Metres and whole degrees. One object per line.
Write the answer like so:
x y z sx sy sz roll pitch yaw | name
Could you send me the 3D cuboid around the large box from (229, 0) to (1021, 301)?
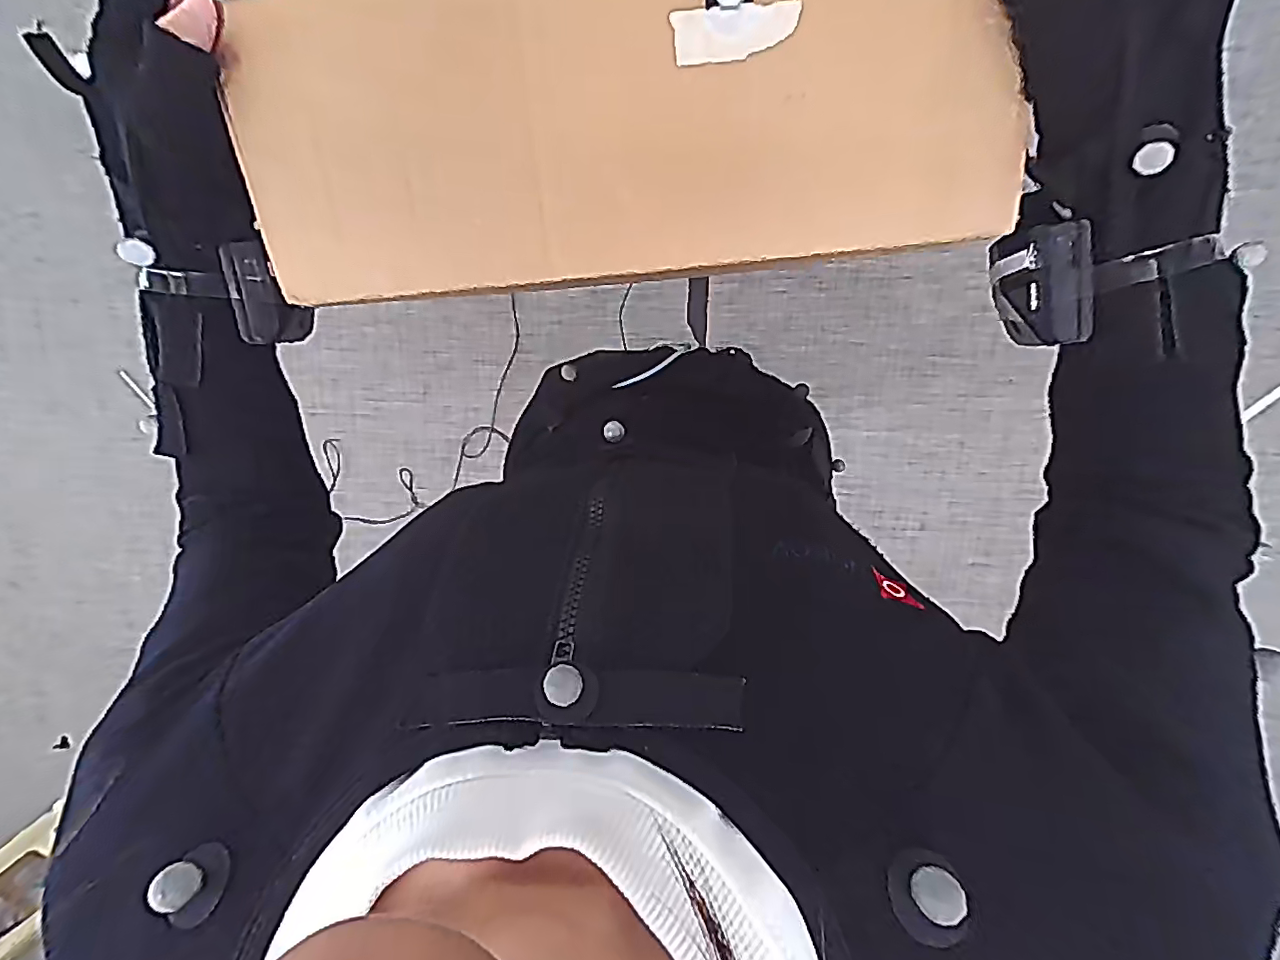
-0.009 -0.319 0.400 0.408 0.320 0.320 -3 110 7 | large box
